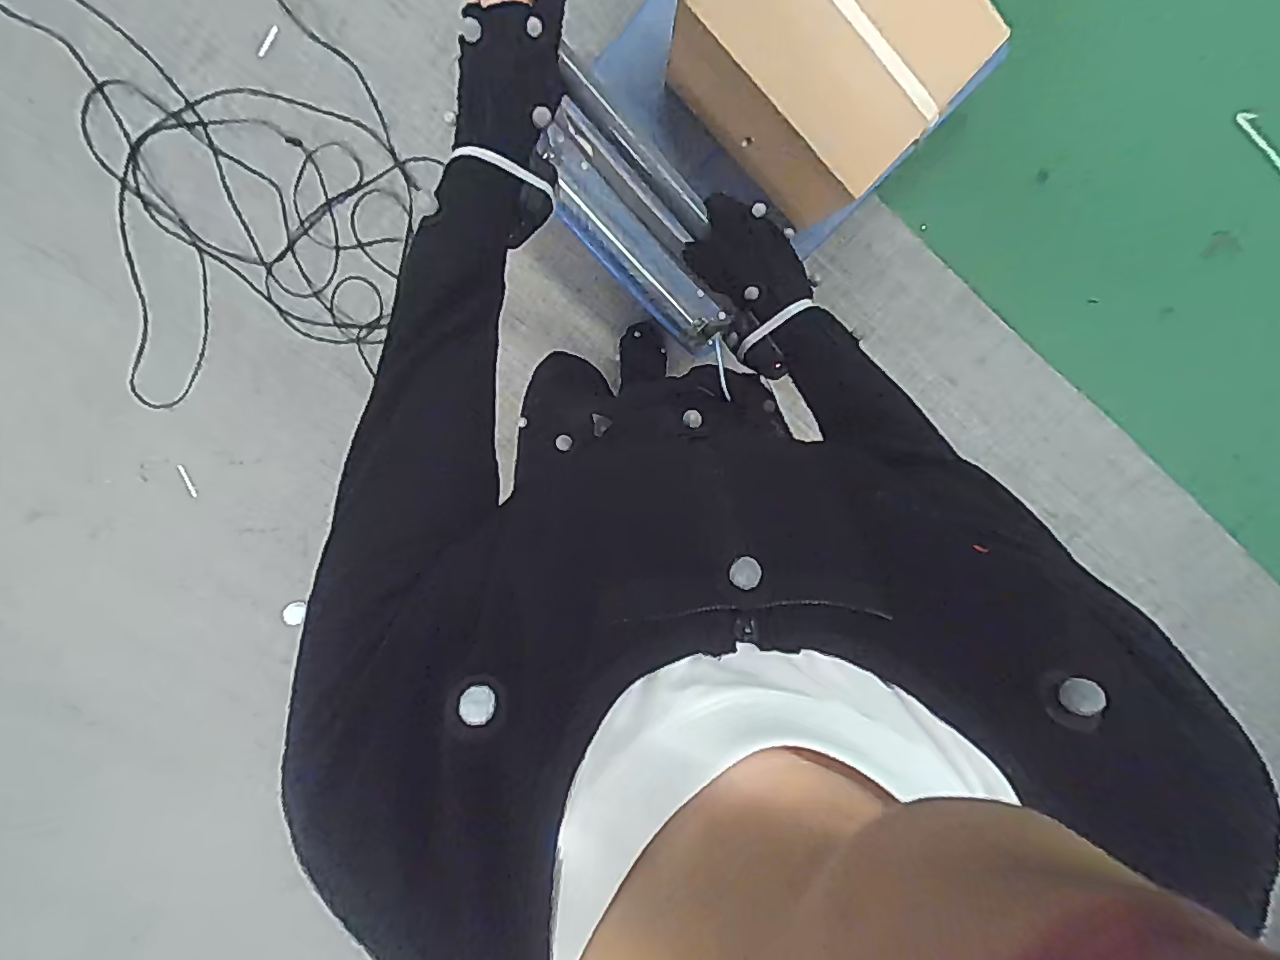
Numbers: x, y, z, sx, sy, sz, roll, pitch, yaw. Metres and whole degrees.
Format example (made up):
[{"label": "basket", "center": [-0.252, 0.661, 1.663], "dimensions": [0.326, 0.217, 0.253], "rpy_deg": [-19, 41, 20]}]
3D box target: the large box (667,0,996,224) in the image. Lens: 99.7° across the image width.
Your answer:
[{"label": "large box", "center": [0.298, -0.740, 0.962], "dimensions": [0.408, 0.320, 0.320], "rpy_deg": [41, 101, -11]}]
